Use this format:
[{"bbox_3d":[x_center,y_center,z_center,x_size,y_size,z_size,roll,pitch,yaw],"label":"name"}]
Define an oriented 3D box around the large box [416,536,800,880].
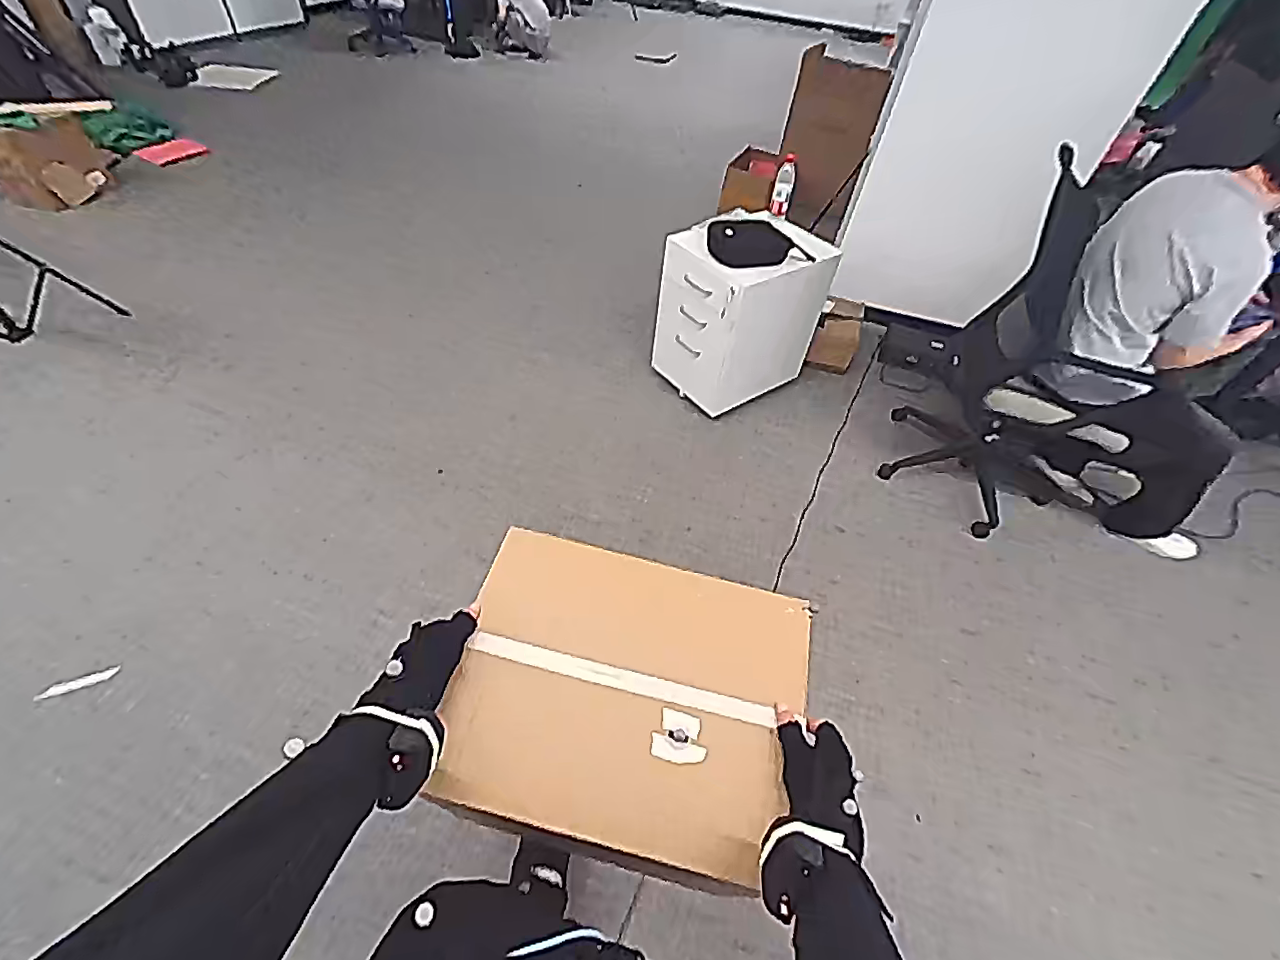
[{"bbox_3d":[-0.028,0.325,0.756,0.408,0.320,0.320,14,54,3],"label":"large box"}]
